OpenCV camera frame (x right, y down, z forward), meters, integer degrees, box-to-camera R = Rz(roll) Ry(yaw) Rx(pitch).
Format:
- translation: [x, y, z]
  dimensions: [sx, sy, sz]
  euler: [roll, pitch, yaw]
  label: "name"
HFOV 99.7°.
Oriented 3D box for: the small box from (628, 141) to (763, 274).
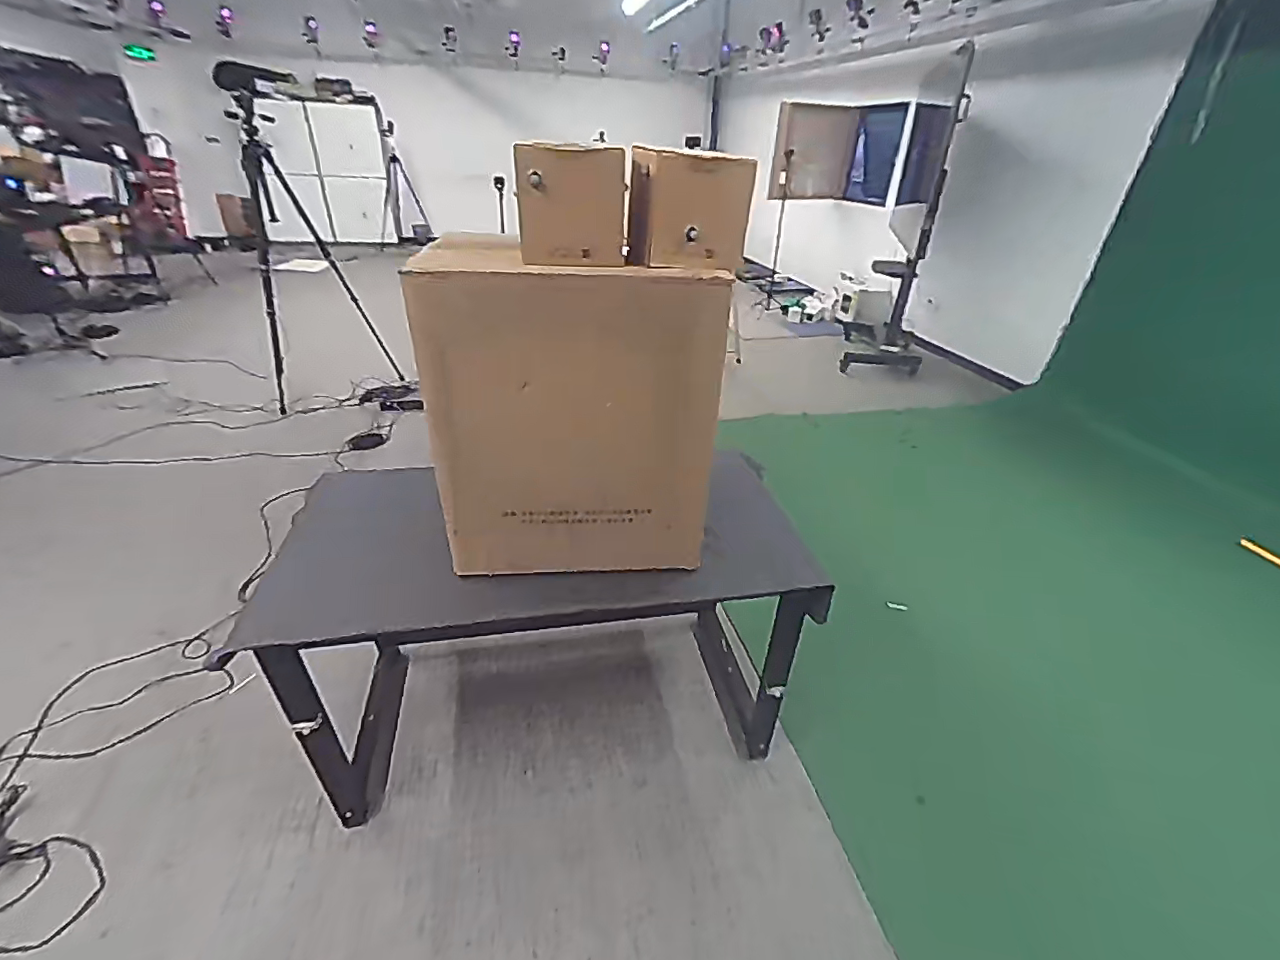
- translation: [0.082, -0.461, 0.917]
  dimensions: [0.168, 0.176, 0.179]
  euler: [-4, 36, -16]
  label: "small box"
